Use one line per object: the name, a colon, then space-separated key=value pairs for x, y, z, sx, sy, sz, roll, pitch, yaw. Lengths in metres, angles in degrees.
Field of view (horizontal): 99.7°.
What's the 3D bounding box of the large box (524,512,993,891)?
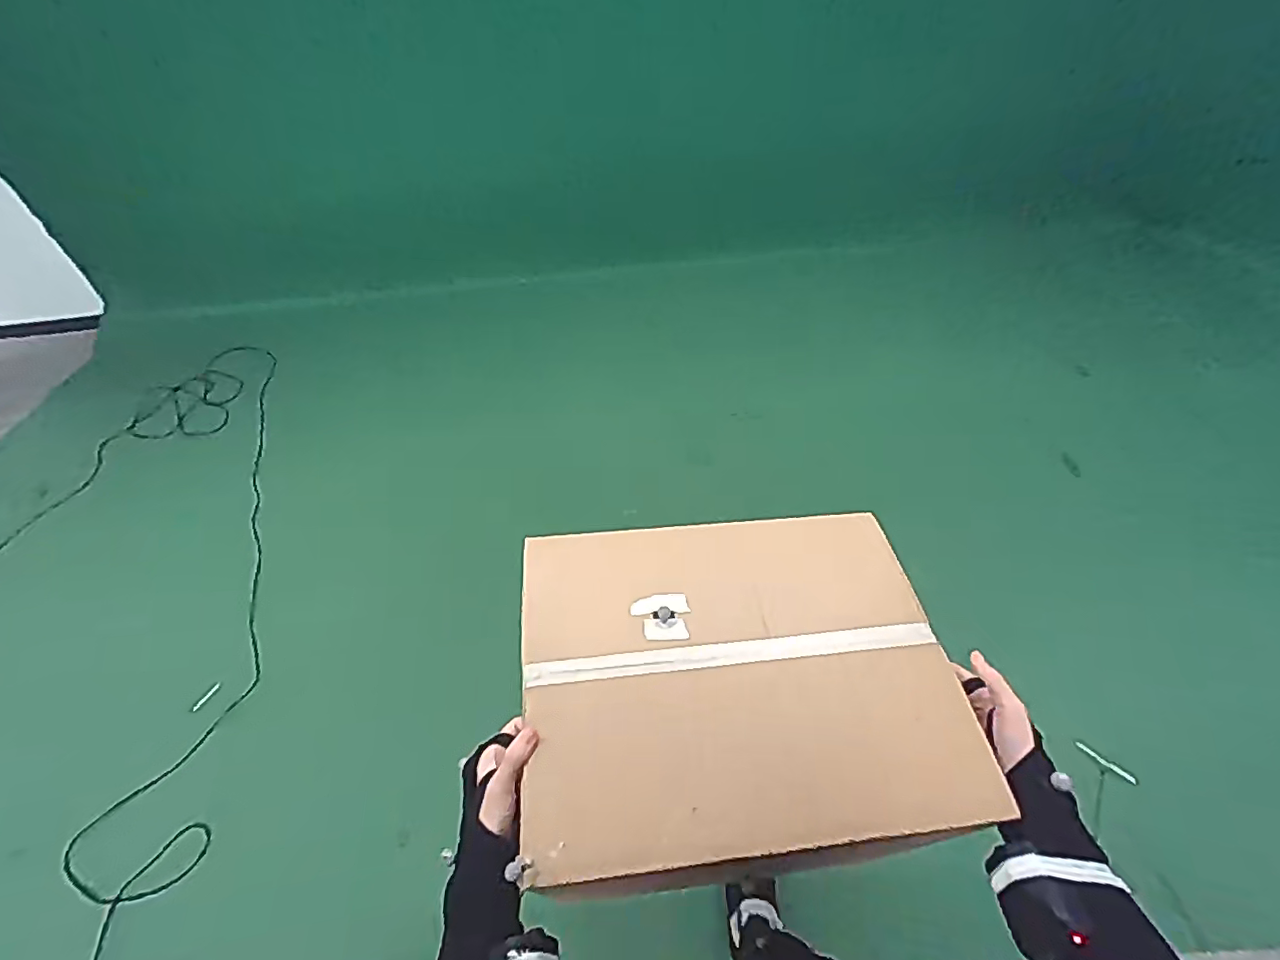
large box: x=0.085 y=0.267 z=0.646 sx=0.408 sy=0.320 sz=0.320 roll=-5 pitch=50 yaw=-6
